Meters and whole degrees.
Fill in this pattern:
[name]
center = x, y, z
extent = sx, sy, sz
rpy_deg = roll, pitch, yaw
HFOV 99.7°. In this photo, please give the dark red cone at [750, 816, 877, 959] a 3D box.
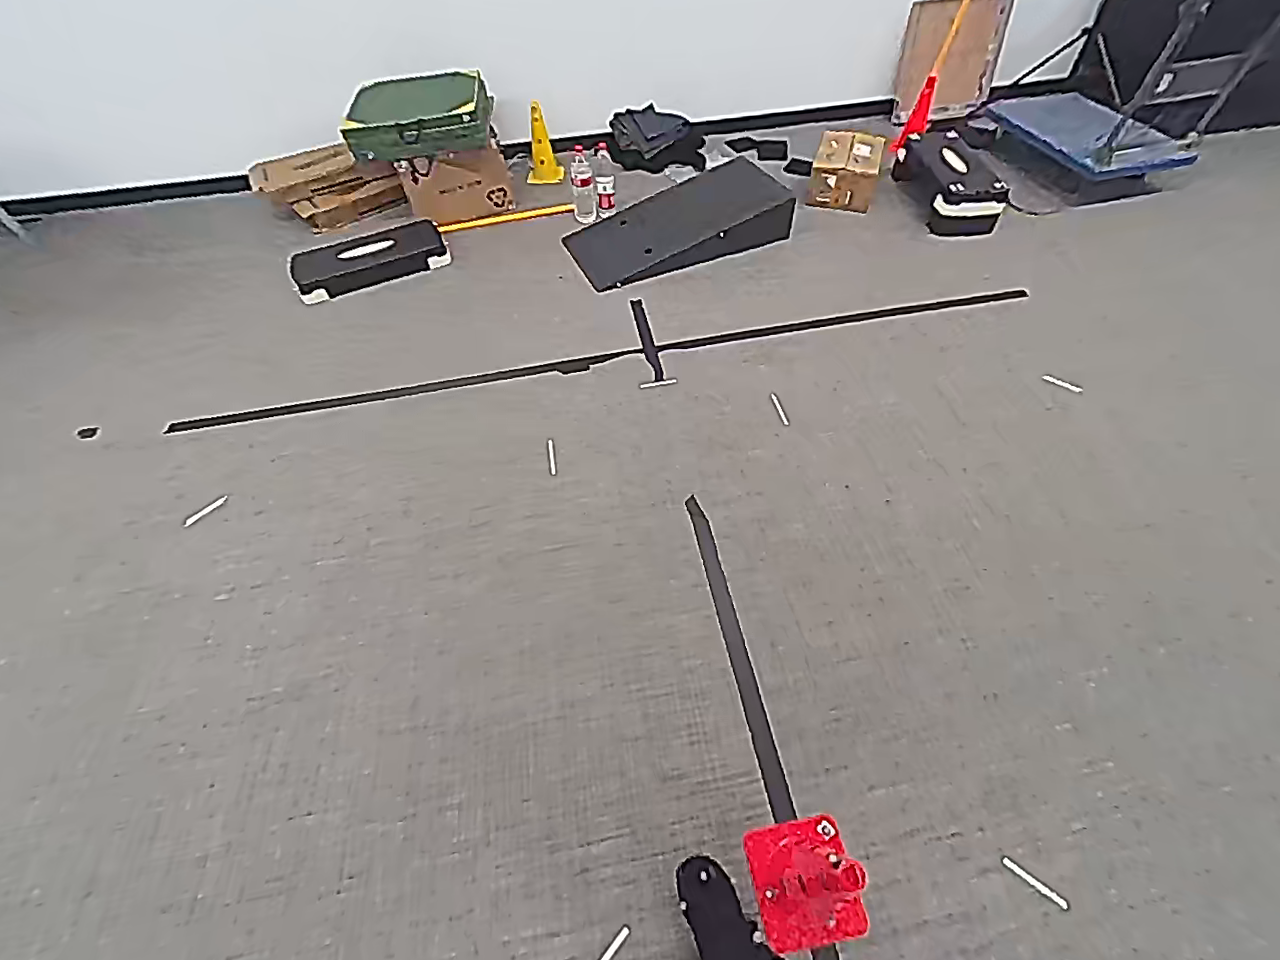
[dark red cone]
center = 0.321, 0.682, 0.916
extent = 0.201, 0.394, 0.202
rpy_deg = -11, 53, -4
